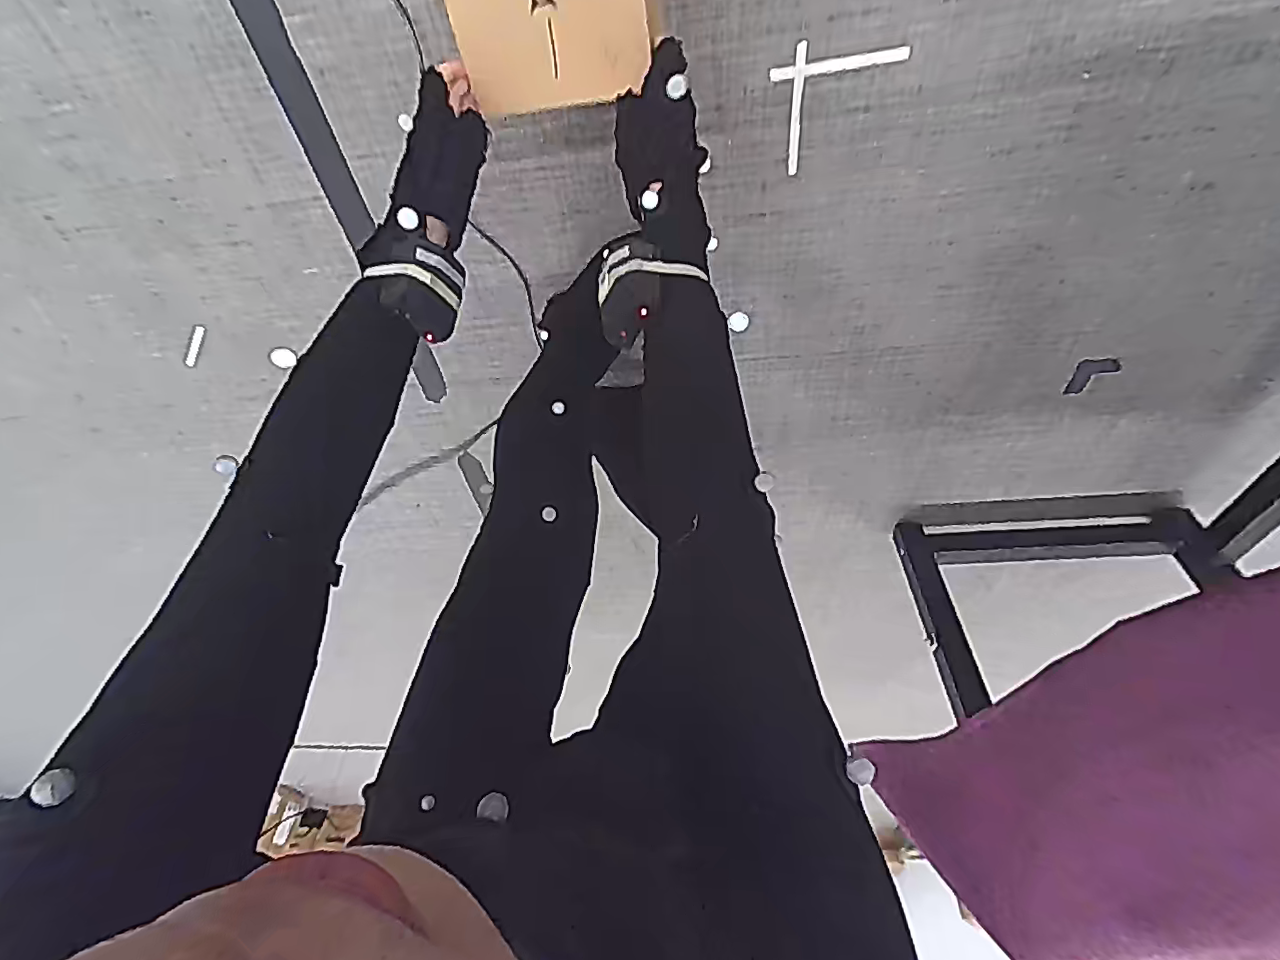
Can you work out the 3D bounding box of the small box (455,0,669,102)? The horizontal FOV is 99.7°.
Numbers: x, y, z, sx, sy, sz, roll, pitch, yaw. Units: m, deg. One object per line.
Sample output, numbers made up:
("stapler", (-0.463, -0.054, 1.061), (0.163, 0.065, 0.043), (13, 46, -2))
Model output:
("small box", (-0.065, -0.461, 0.472), (0.168, 0.176, 0.179), (-1, 137, 9))
